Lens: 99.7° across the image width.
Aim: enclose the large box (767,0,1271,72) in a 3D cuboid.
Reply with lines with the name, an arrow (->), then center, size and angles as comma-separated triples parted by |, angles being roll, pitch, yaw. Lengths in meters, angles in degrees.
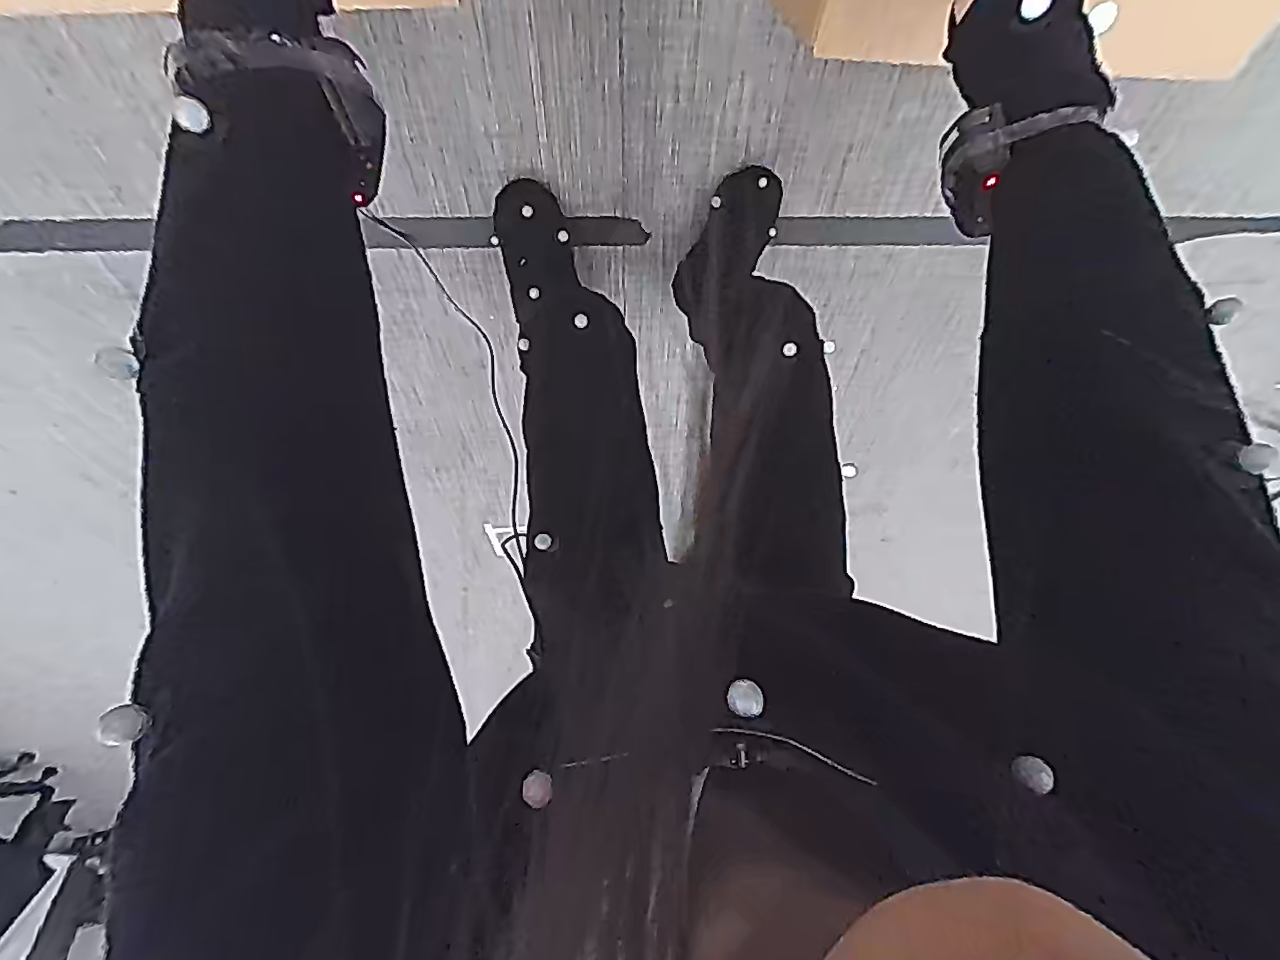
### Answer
large box -> 0.343, -0.590, 0.465 | 0.408, 0.320, 0.320 | -1, 142, -6
